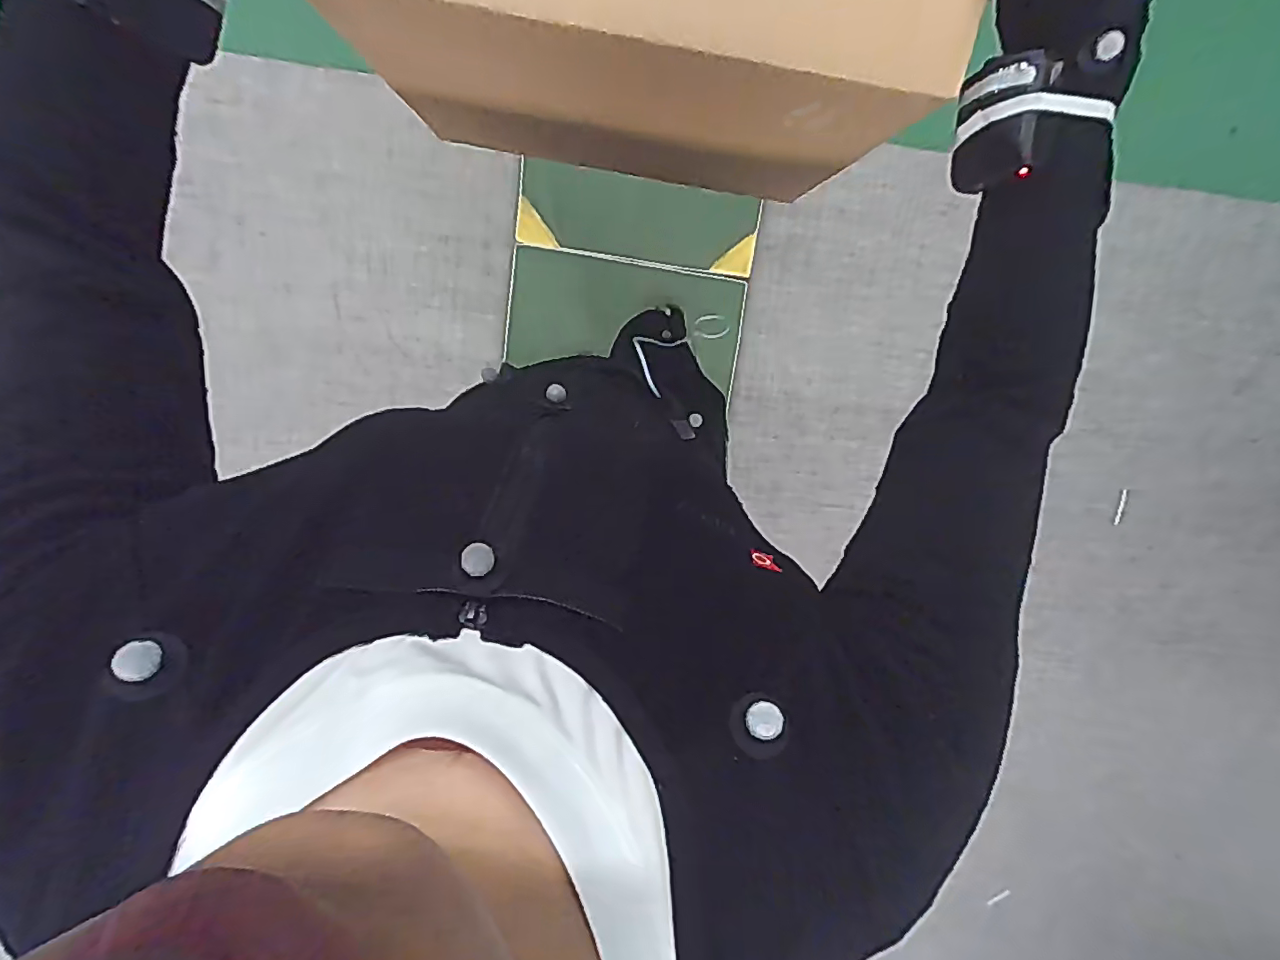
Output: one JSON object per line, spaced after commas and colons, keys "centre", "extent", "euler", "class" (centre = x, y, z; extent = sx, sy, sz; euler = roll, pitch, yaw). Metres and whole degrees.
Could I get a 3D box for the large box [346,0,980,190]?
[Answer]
{"centre": [0.016, -0.457, 0.427], "extent": [0.408, 0.320, 0.320], "euler": [6, 107, -6], "class": "large box"}
